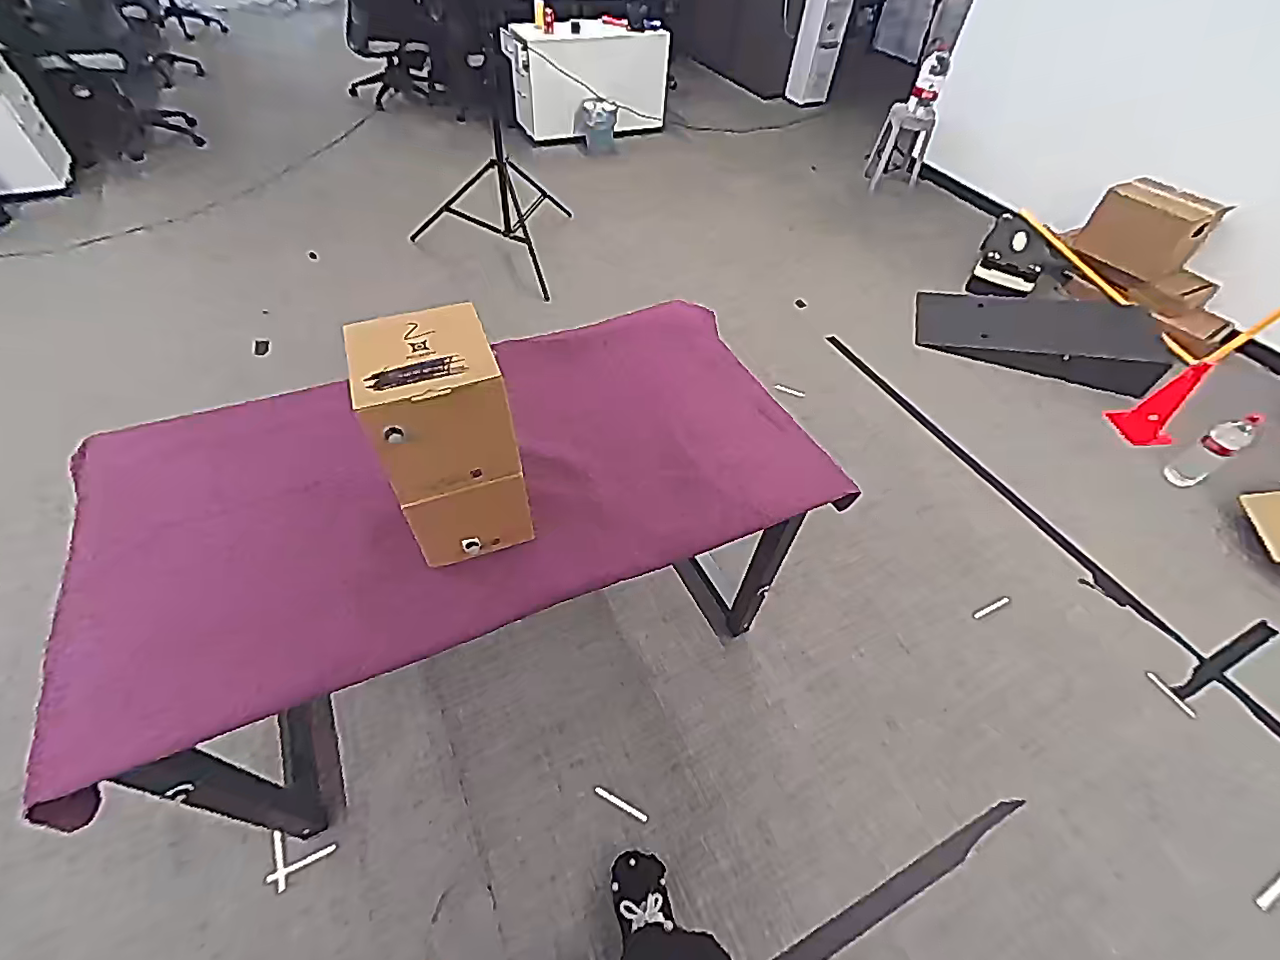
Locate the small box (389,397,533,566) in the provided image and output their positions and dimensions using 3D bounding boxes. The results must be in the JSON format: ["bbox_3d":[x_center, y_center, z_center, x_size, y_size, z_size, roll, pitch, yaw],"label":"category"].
[{"bbox_3d":[-0.273,0.003,0.844,0.168,0.176,0.179,-17,54,-17],"label":"small box"}]
